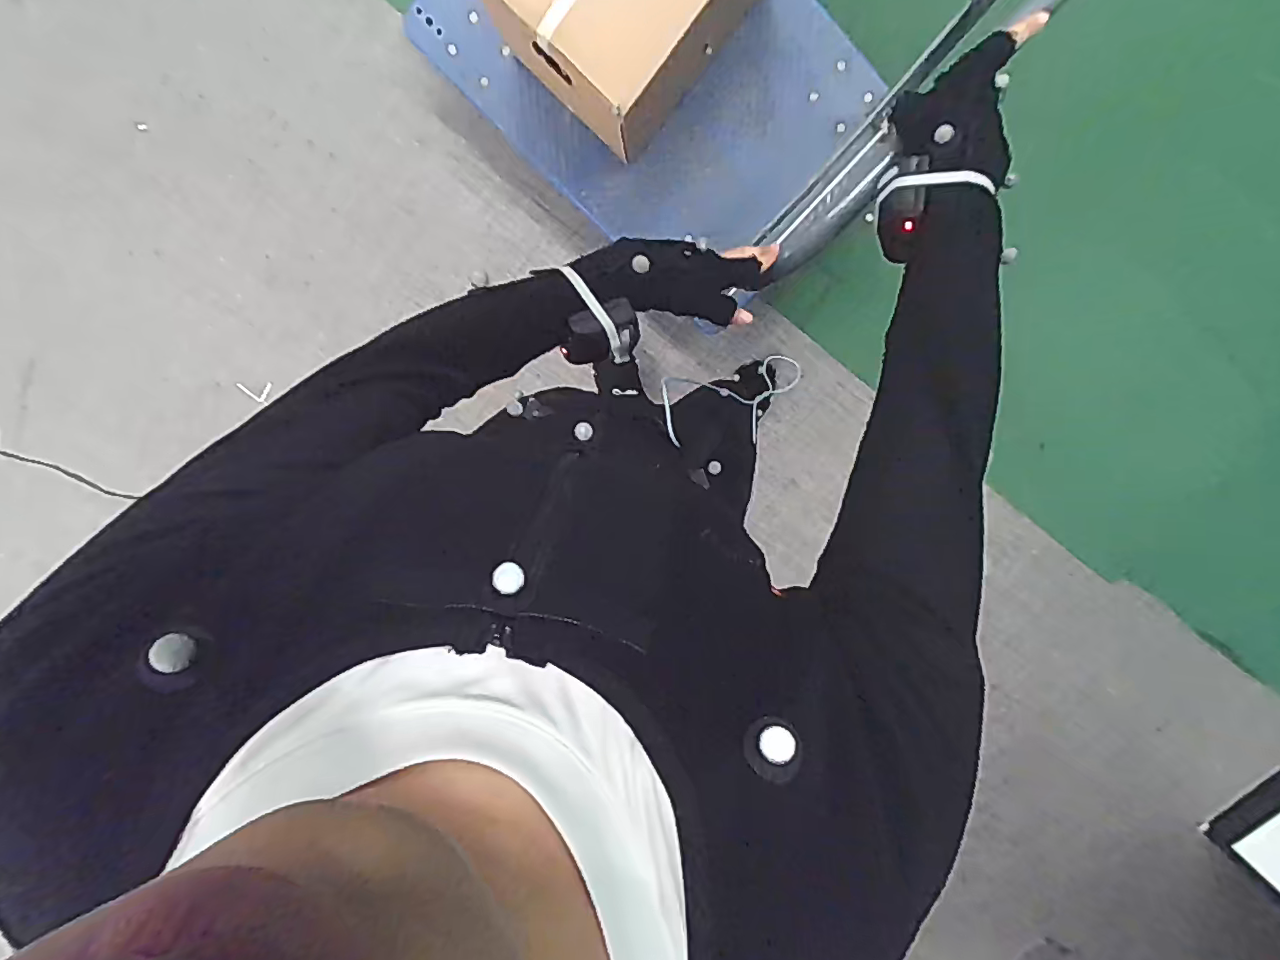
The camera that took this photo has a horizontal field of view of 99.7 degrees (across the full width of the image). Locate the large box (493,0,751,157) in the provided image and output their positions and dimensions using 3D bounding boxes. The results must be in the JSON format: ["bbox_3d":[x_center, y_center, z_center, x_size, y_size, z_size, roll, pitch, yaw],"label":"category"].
[{"bbox_3d":[0.000,-0.847,0.892,0.320,0.320,0.408,40,105,-10],"label":"large box"}]
